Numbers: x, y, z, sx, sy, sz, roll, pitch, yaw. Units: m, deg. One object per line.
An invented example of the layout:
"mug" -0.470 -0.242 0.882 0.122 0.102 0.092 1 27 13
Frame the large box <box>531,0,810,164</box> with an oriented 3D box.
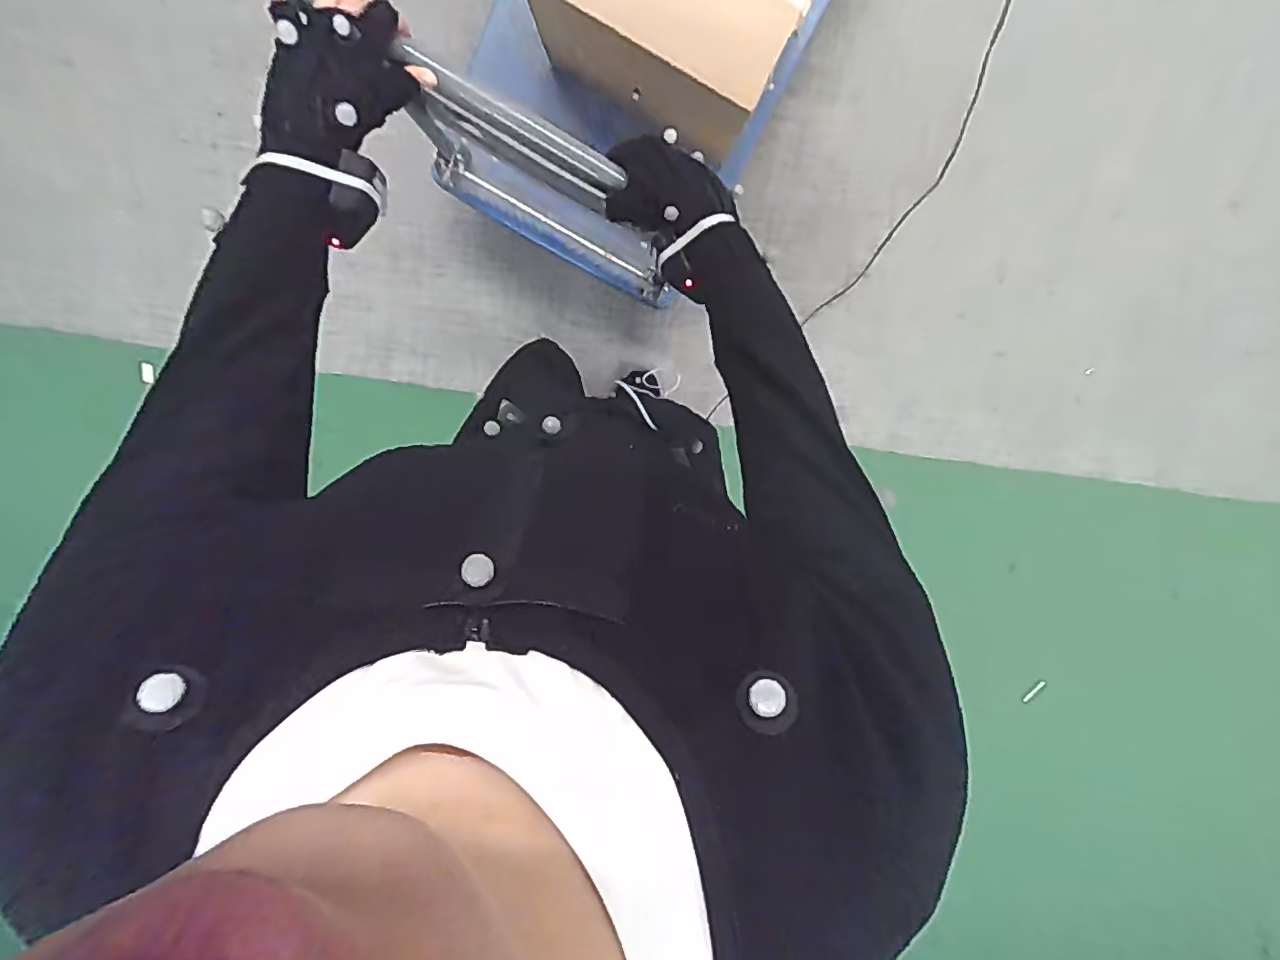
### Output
"large box" 0.072 -0.834 0.940 0.408 0.320 0.320 27 104 -6
